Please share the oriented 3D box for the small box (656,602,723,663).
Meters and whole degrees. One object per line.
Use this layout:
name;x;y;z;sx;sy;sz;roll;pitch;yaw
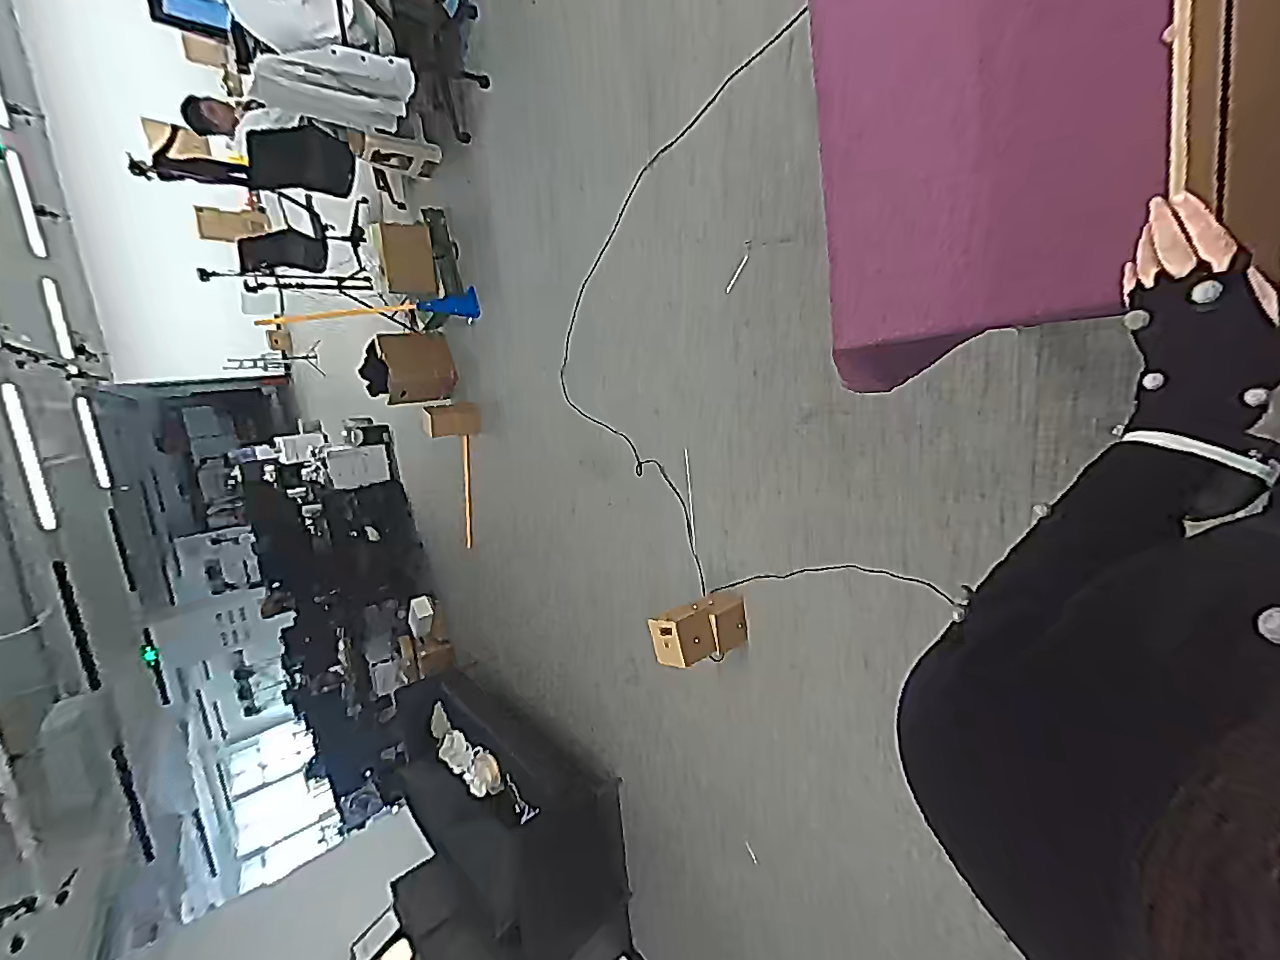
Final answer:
small box;0.192;0.576;2.074;0.168;0.176;0.179;-13;92;54
